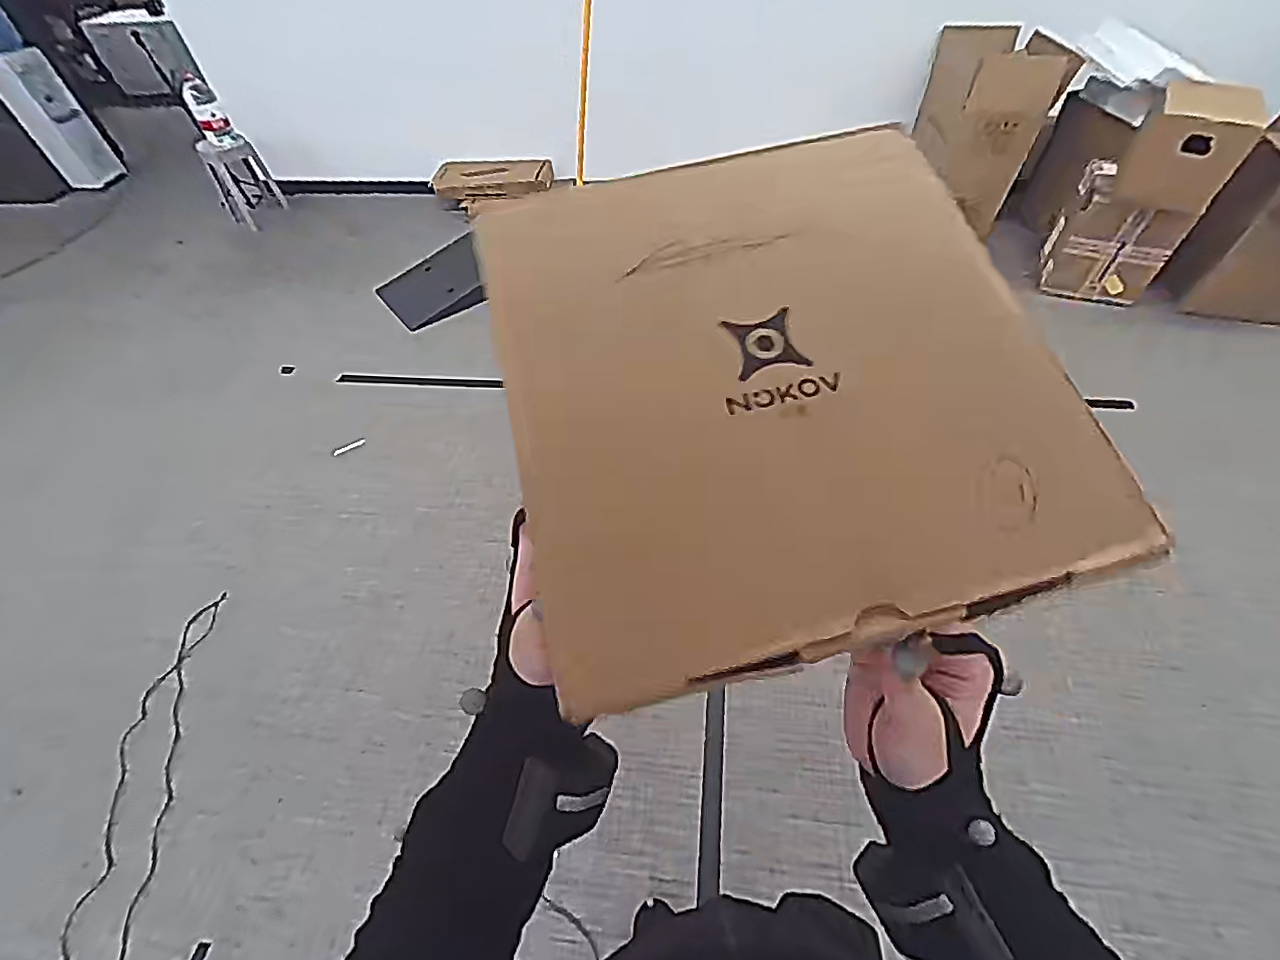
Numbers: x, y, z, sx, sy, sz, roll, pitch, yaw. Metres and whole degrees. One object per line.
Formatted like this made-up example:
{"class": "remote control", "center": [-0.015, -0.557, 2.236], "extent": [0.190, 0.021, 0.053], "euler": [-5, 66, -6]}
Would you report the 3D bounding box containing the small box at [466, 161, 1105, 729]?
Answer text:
{"class": "small box", "center": [0.037, 0.000, 0.255], "extent": [0.168, 0.176, 0.179], "euler": [-16, 67, -5]}
